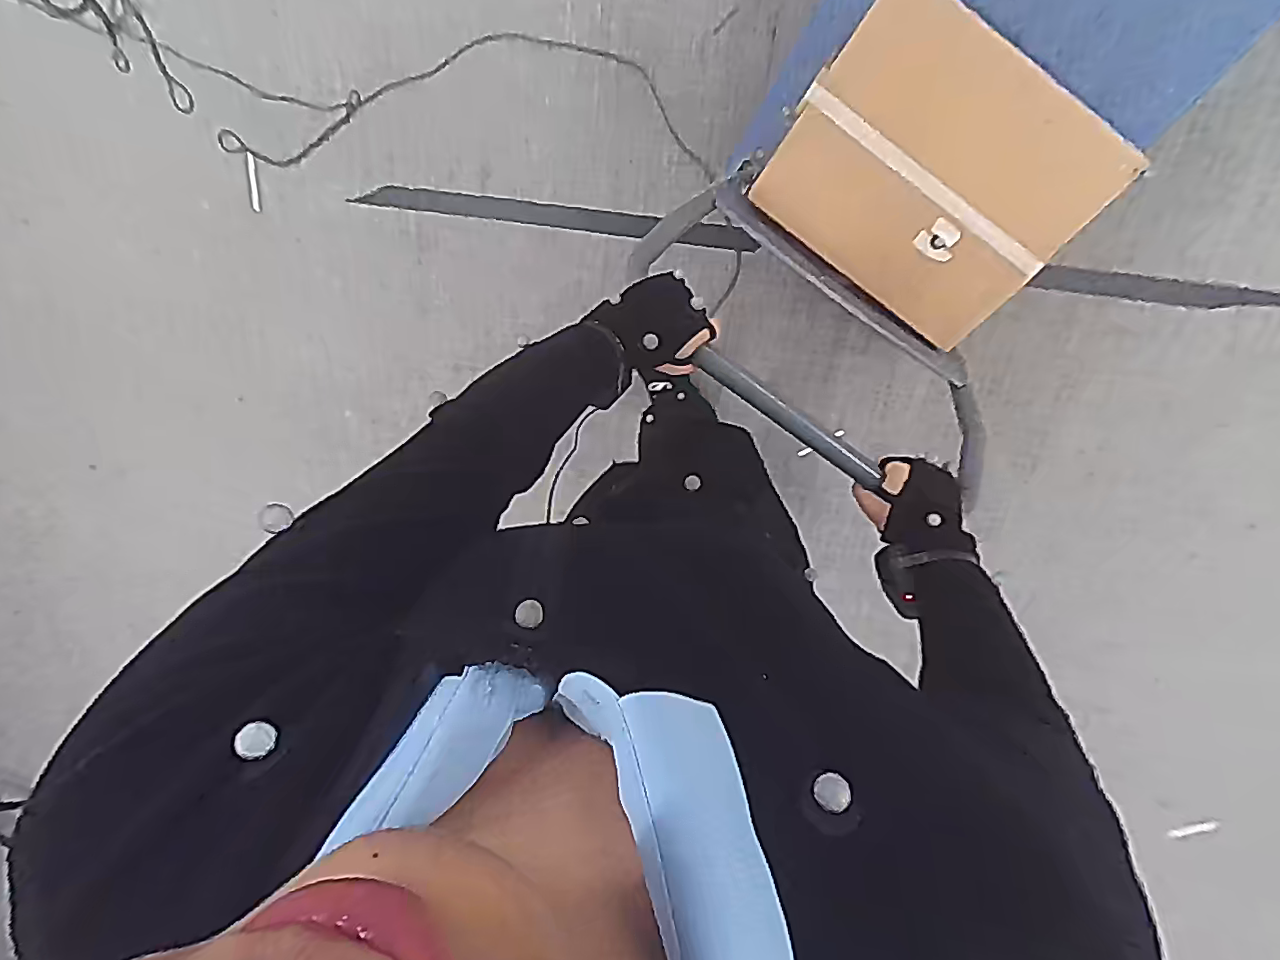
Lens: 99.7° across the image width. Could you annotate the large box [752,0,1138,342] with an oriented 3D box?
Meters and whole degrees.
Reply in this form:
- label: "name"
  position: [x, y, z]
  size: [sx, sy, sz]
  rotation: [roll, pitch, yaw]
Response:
- label: "large box"
  position: [0.452, -0.505, 0.894]
  size: [0.408, 0.320, 0.320]
  rotation: [36, 127, -4]
